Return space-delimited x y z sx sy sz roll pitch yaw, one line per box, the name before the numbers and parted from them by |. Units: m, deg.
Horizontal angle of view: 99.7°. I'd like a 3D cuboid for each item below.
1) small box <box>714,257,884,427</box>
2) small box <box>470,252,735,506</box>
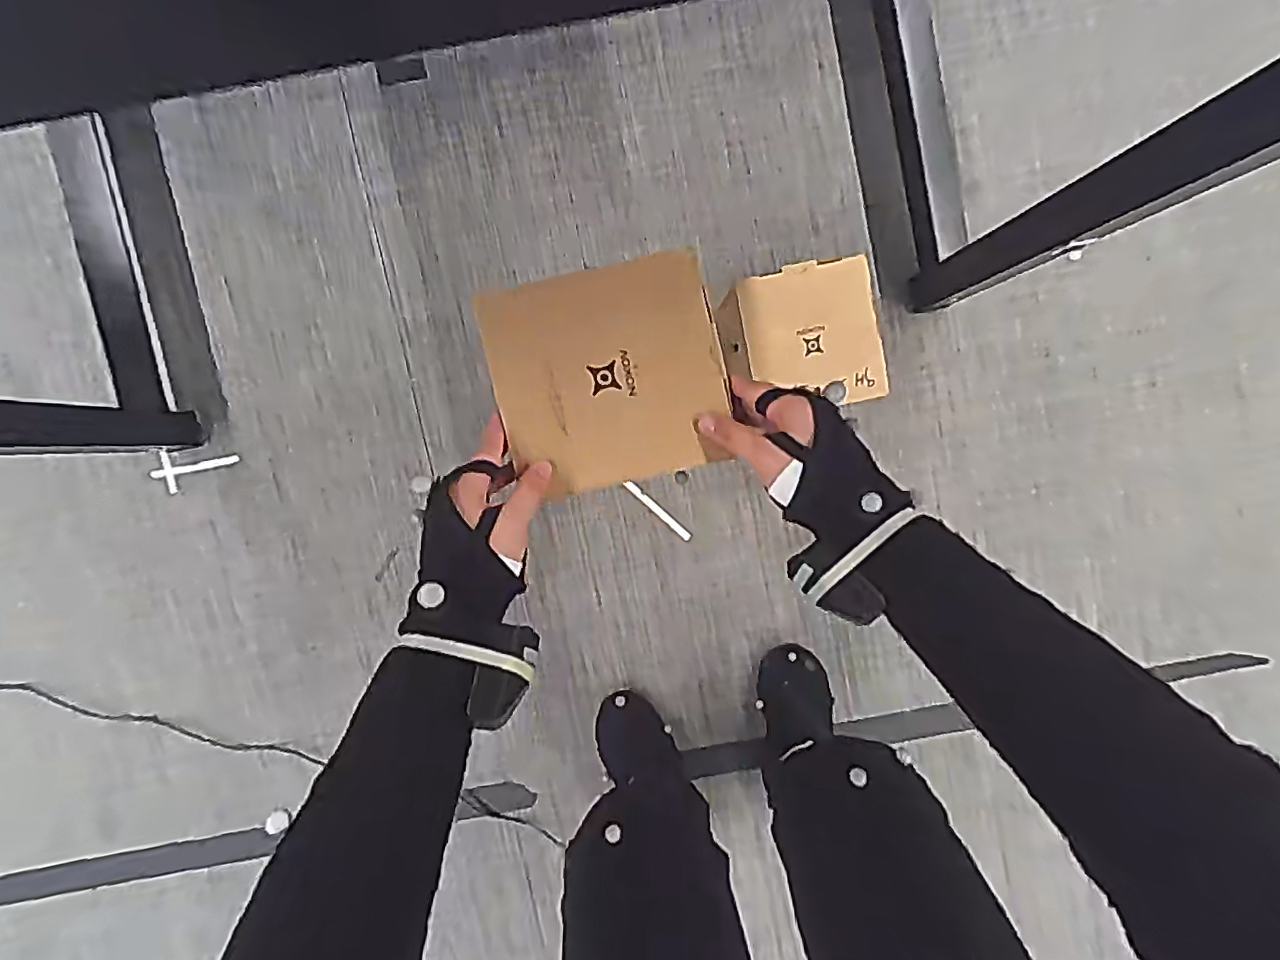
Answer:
small box | 0.204 -0.176 0.741 0.168 0.176 0.179 -12 93 1
small box | -0.030 -0.080 0.495 0.179 0.176 0.168 -14 91 0
